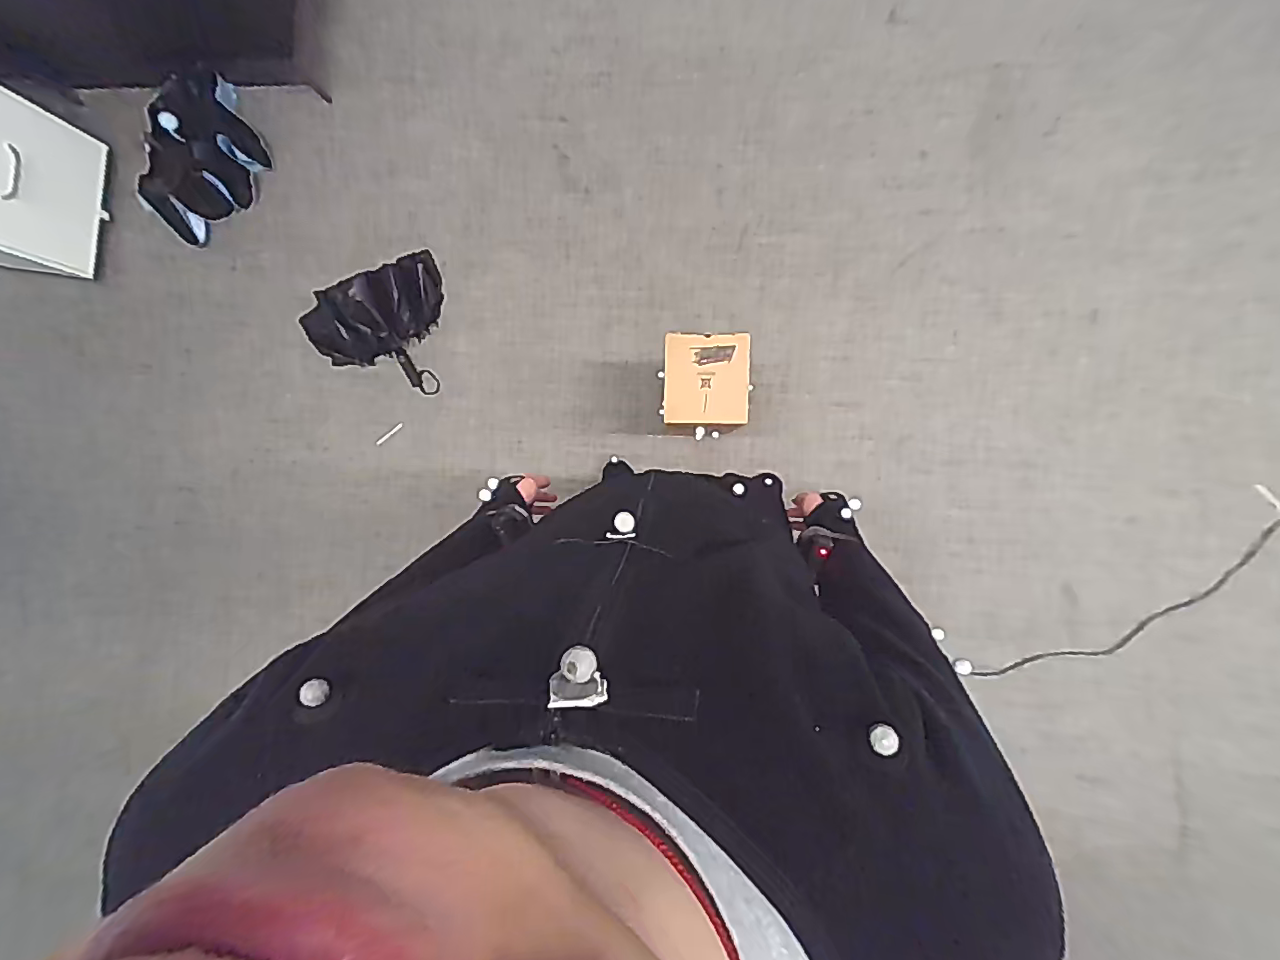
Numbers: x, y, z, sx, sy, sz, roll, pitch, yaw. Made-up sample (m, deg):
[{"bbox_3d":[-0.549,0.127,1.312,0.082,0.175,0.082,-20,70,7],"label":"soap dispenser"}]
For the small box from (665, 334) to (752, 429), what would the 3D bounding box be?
[{"bbox_3d":[0.137,-0.198,1.124,0.168,0.176,0.179,1,95,5],"label":"small box"}]
